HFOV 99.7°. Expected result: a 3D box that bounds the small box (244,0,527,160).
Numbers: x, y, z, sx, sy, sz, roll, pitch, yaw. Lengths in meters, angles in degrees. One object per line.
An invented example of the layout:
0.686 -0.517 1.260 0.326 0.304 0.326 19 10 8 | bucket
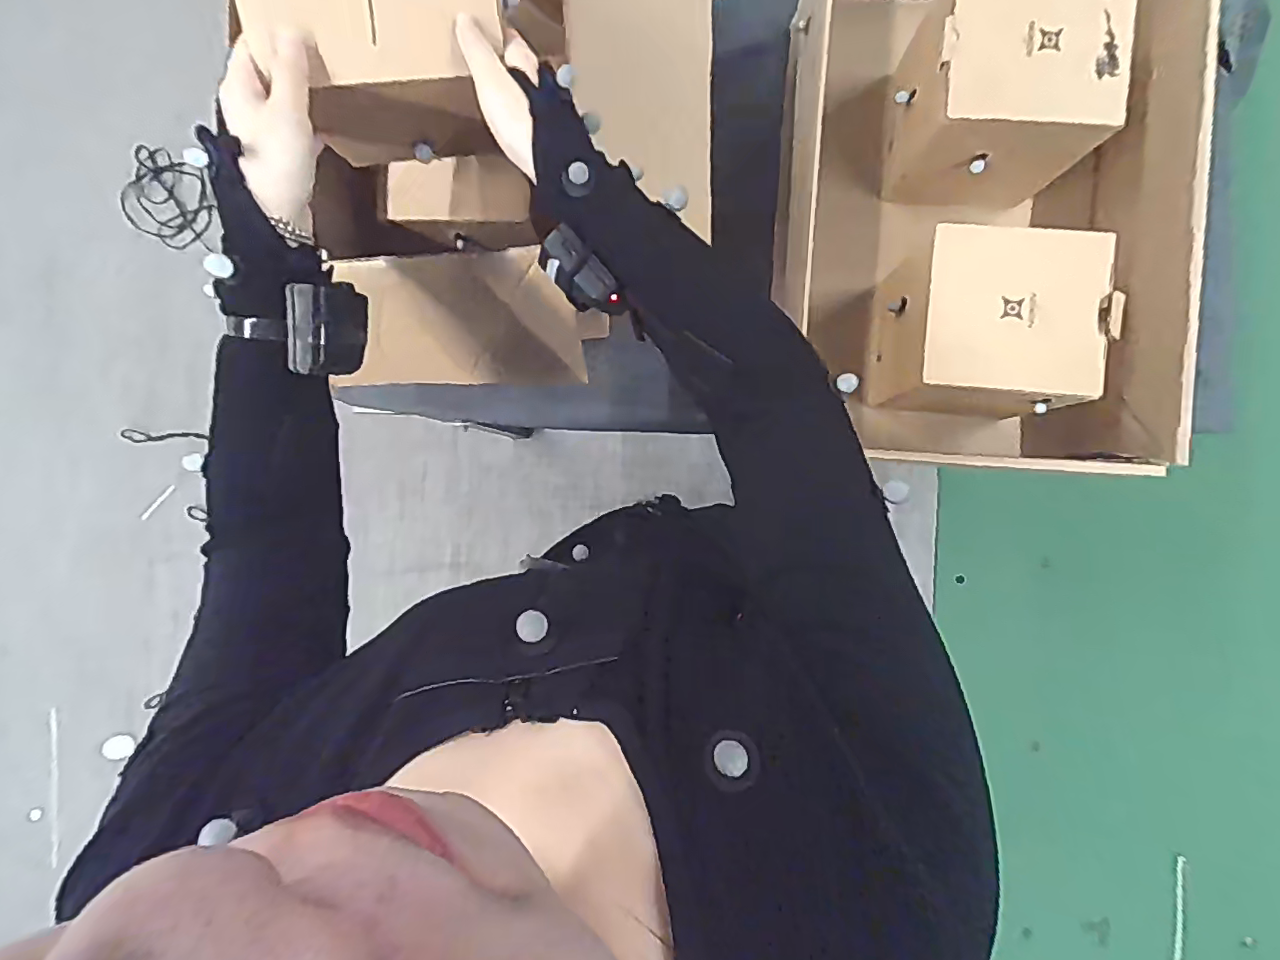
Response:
-0.186 -0.373 0.416 0.168 0.176 0.179 -9 108 -5 | small box
